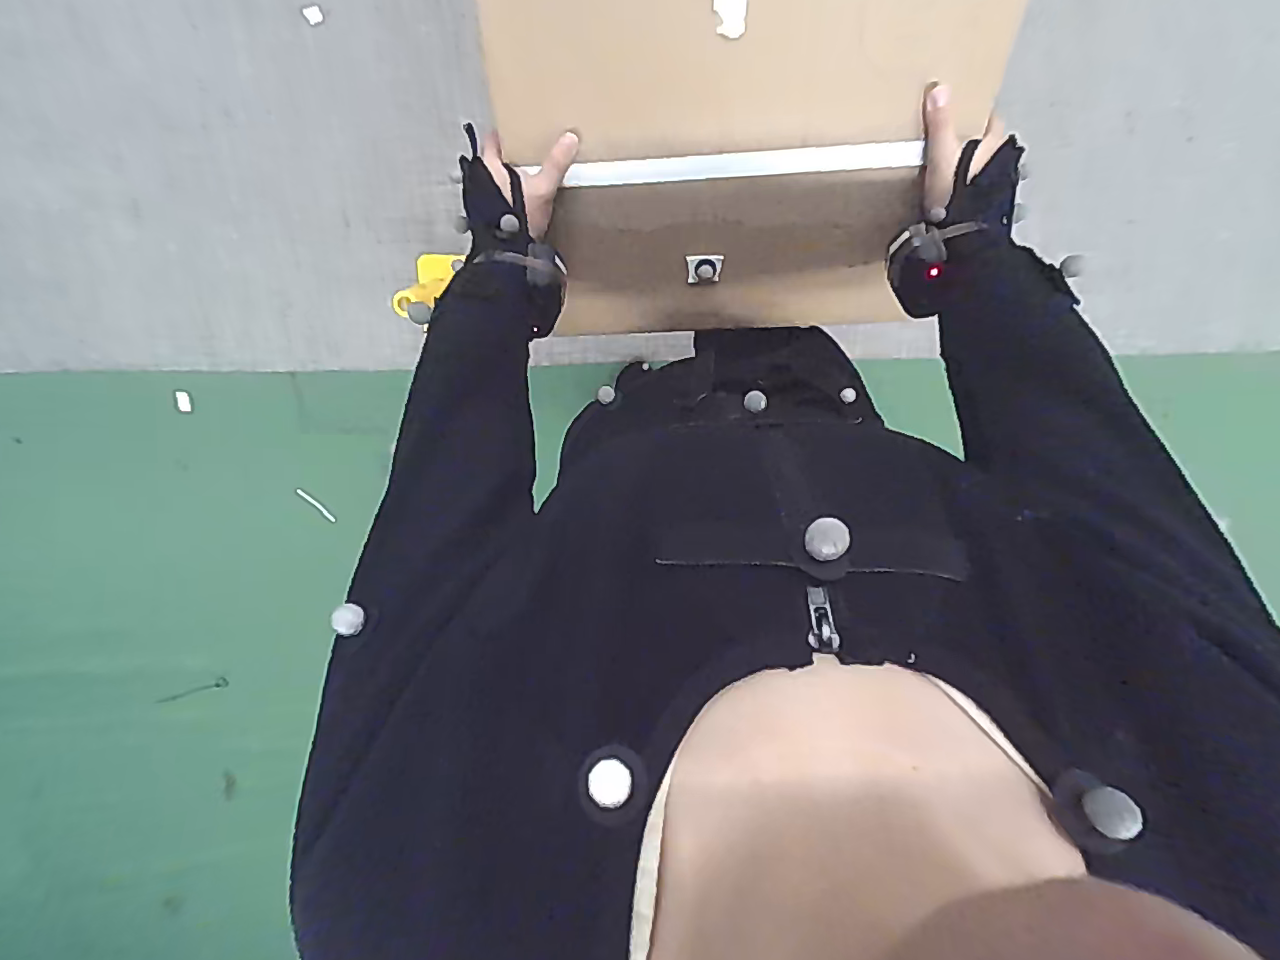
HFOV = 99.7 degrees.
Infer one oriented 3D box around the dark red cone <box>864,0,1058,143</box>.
[{"bbox_3d":[0.543,-0.727,0.907,0.202,0.394,0.201,-8,111,2],"label":"dark red cone"}]
